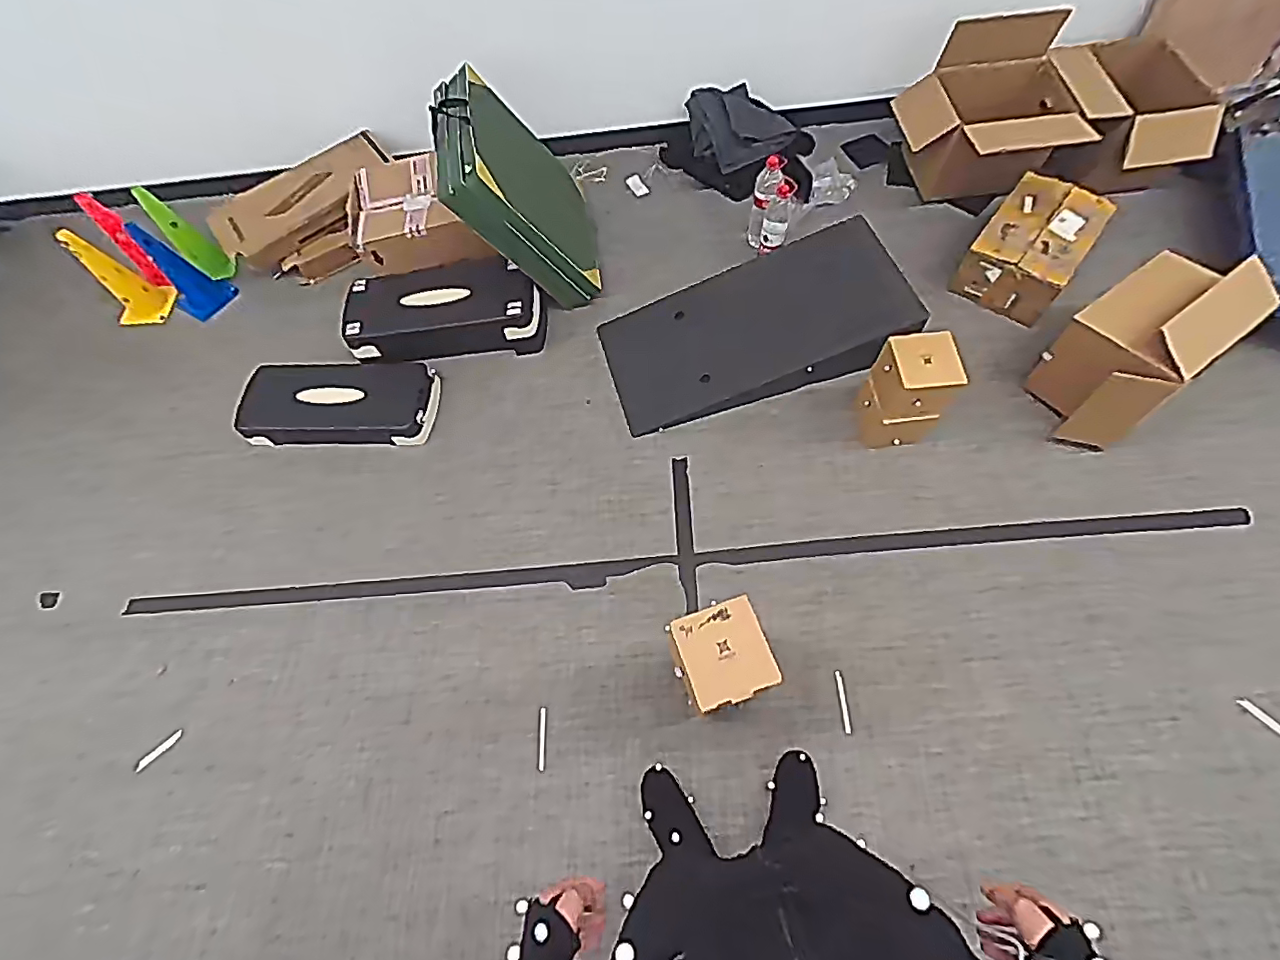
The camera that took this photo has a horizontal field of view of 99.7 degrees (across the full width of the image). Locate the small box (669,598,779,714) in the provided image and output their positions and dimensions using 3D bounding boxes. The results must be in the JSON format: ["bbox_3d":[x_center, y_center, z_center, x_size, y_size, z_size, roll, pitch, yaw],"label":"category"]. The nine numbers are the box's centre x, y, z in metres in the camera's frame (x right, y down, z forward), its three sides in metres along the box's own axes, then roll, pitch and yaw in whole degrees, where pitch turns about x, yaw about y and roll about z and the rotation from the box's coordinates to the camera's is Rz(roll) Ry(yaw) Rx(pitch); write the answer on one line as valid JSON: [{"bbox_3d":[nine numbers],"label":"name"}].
[{"bbox_3d":[0.165,0.364,1.106,0.168,0.176,0.179,-19,66,-4],"label":"small box"}]
